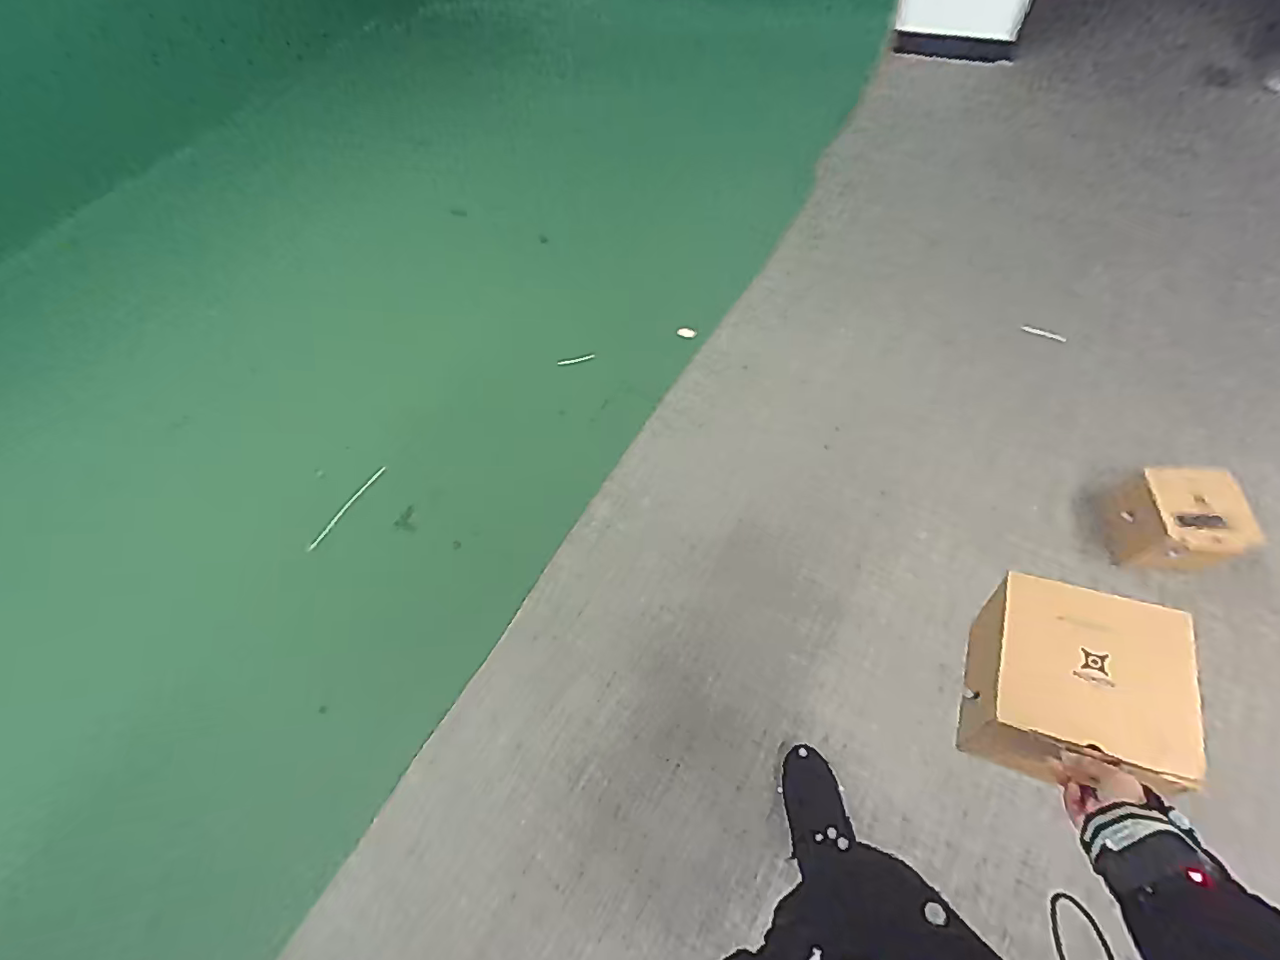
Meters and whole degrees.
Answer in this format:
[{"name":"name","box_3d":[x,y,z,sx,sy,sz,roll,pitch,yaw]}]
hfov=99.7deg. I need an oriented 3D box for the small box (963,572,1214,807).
[{"name":"small box","box_3d":[0.480,0.237,0.605,0.168,0.176,0.179,14,58,23]}]
